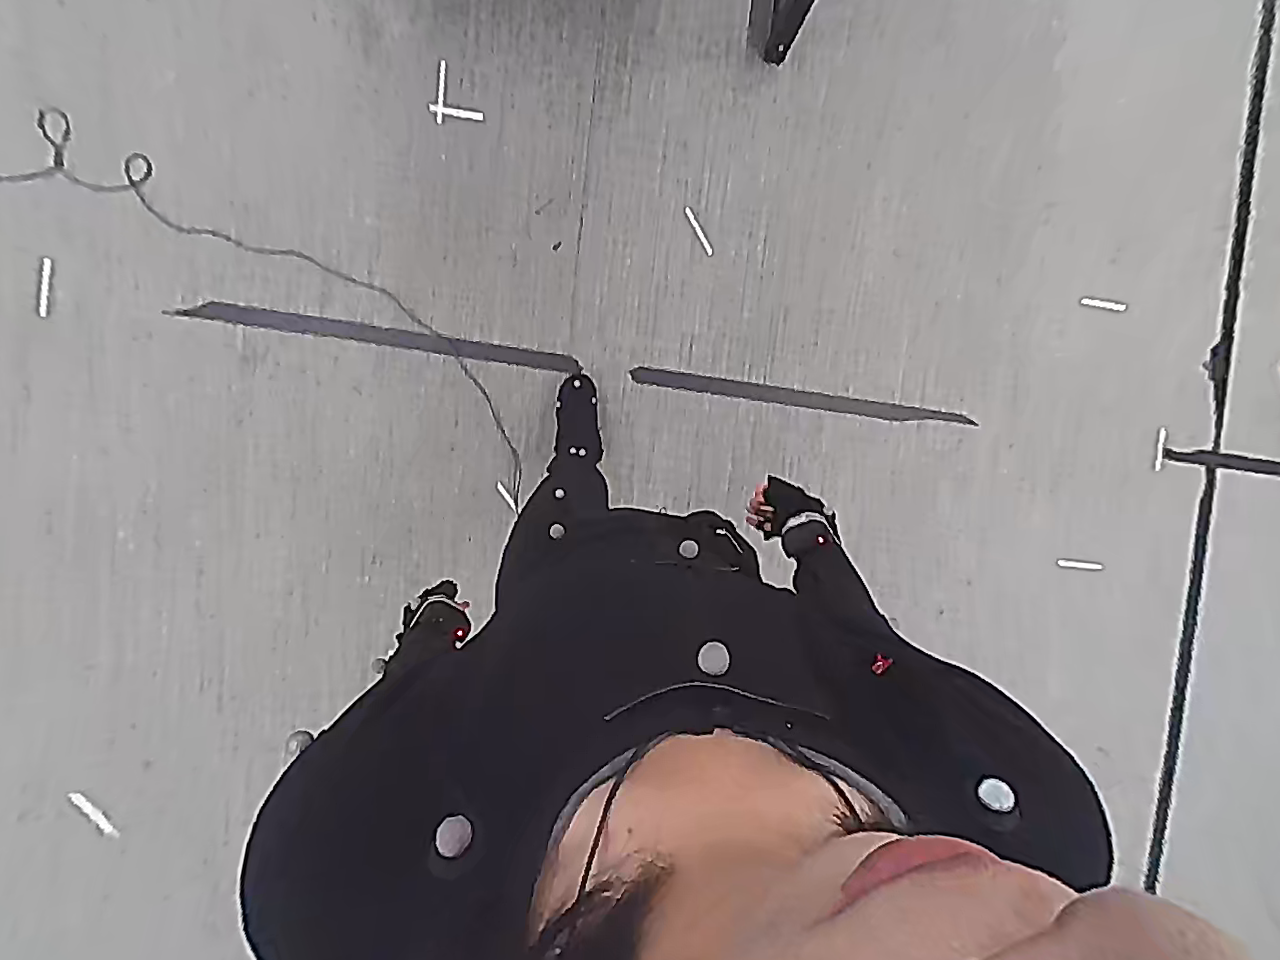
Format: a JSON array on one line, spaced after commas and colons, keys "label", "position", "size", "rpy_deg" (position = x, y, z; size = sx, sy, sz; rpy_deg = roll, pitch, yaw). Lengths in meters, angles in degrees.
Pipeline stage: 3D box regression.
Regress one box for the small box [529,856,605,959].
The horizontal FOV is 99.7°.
[{"label": "small box", "position": [-0.191, 1.161, 1.440], "size": [0.168, 0.176, 0.179], "rpy_deg": [-13, 93, -6]}]
